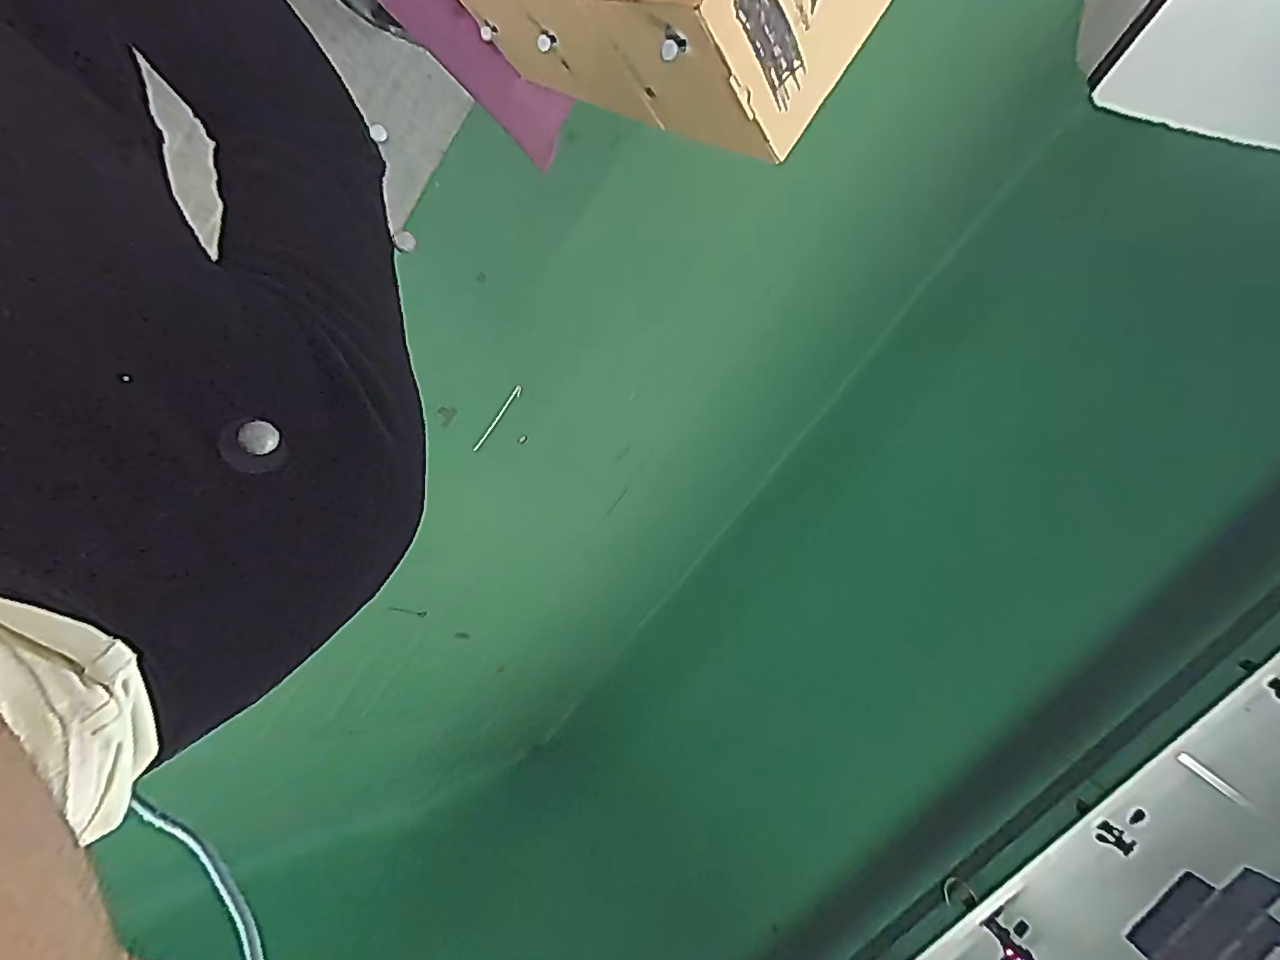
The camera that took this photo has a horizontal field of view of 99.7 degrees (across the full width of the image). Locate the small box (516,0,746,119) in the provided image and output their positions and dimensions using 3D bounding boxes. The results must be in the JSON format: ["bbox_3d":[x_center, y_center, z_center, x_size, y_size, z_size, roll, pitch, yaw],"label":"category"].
[{"bbox_3d":[-0.015,-0.532,0.562,0.179,0.176,0.168,-51,147,9],"label":"small box"}]

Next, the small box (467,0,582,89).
[{"bbox_3d":[-0.117,-0.627,0.647,0.168,0.176,0.179,-52,148,9],"label":"small box"}]
